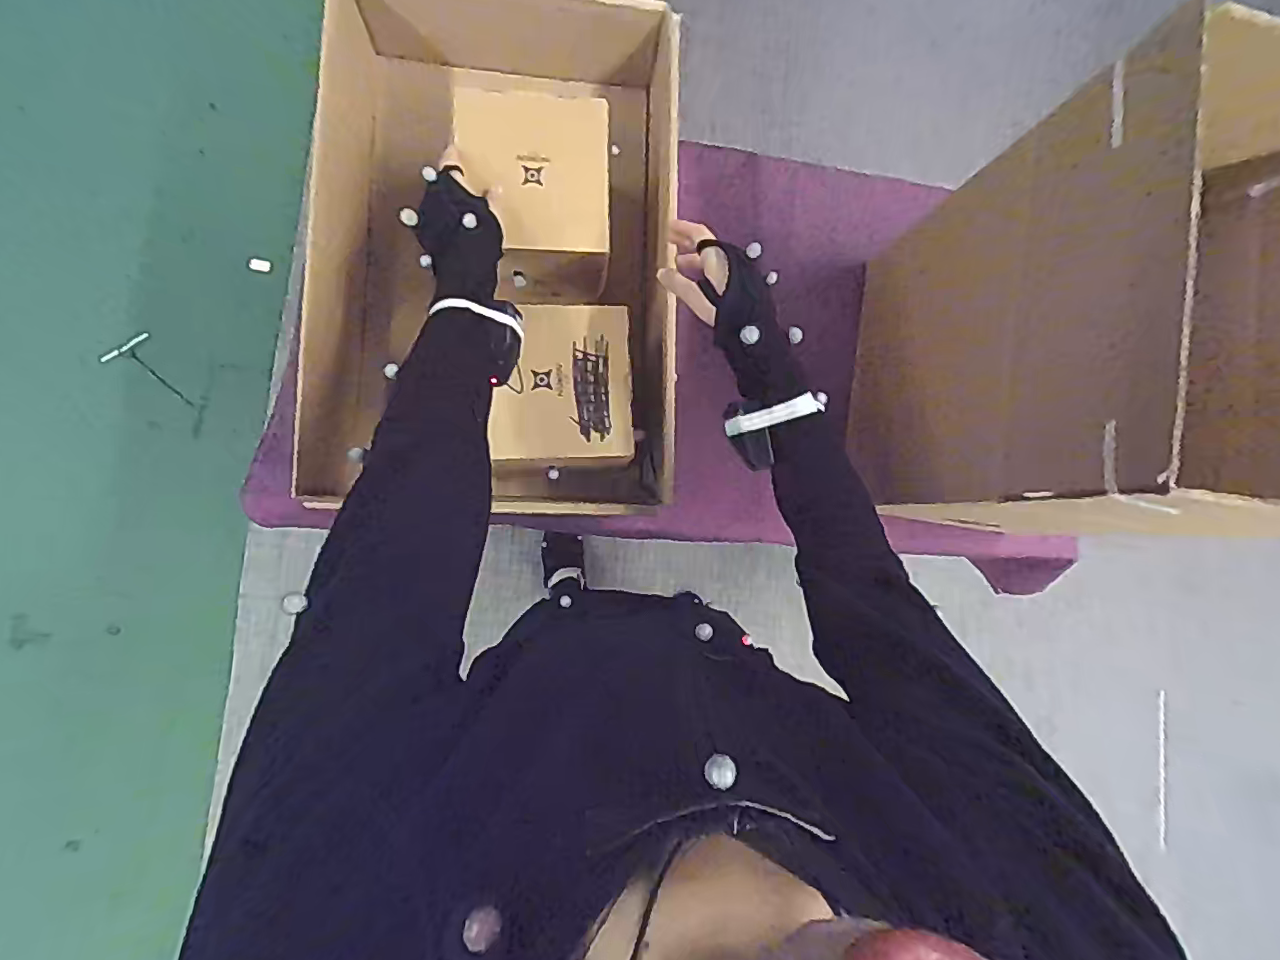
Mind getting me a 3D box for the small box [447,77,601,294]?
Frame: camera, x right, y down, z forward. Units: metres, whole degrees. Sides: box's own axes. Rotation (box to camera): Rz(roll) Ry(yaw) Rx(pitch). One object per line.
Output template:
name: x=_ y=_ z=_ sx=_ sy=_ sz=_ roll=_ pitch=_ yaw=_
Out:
small box: x=-0.132 y=-0.340 z=0.660 sx=0.168 sy=0.176 sz=0.179 roll=-1 pitch=88 yaw=-7
